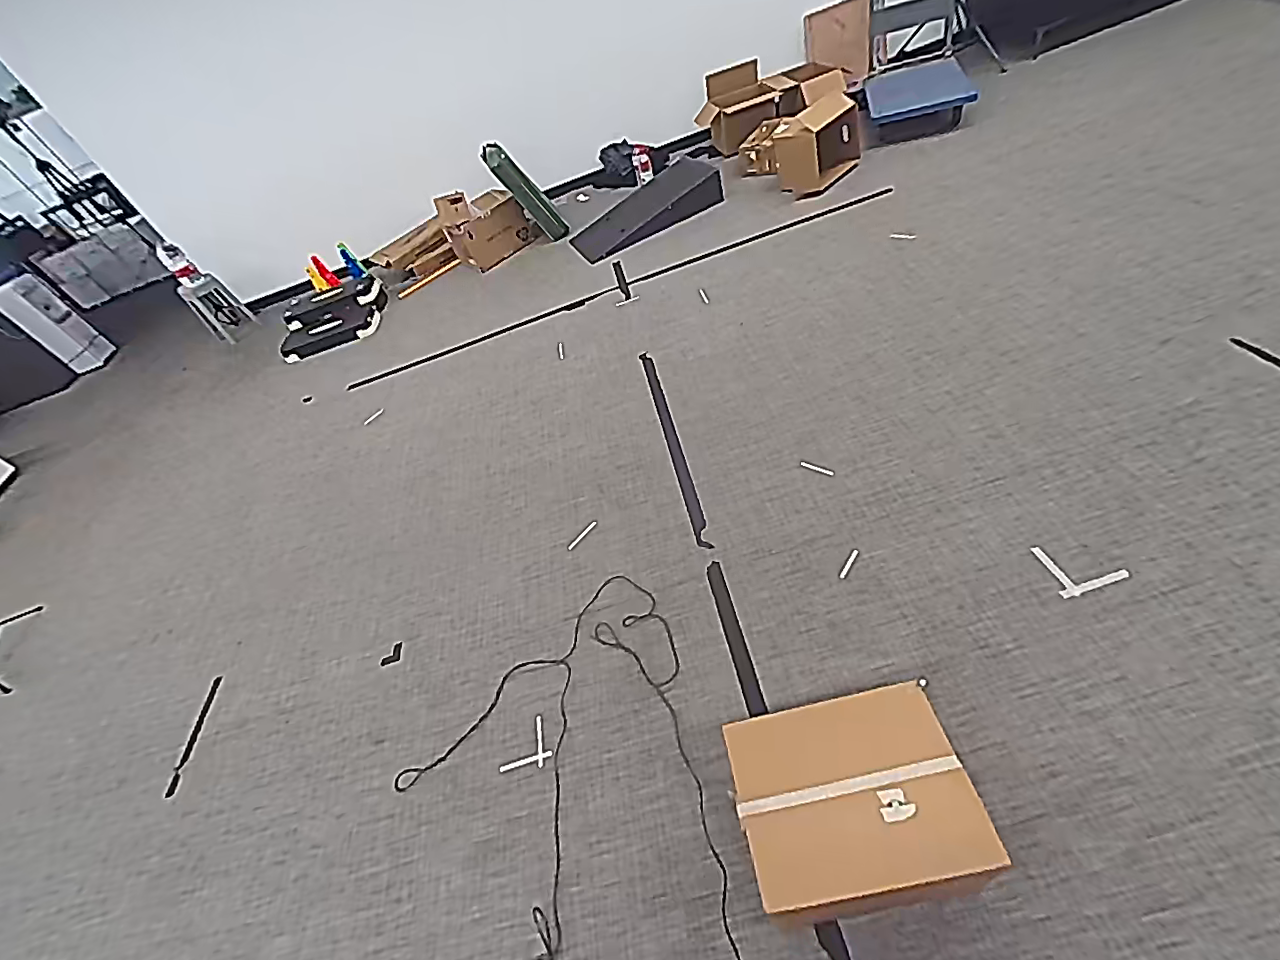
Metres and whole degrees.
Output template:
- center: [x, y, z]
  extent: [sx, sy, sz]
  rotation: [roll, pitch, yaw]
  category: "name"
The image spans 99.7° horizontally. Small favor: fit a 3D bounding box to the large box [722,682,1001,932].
- center: [0.414, 0.668, 1.098]
  extent: [0.408, 0.320, 0.320]
  rotation: [-16, 45, 5]
  category: "large box"
